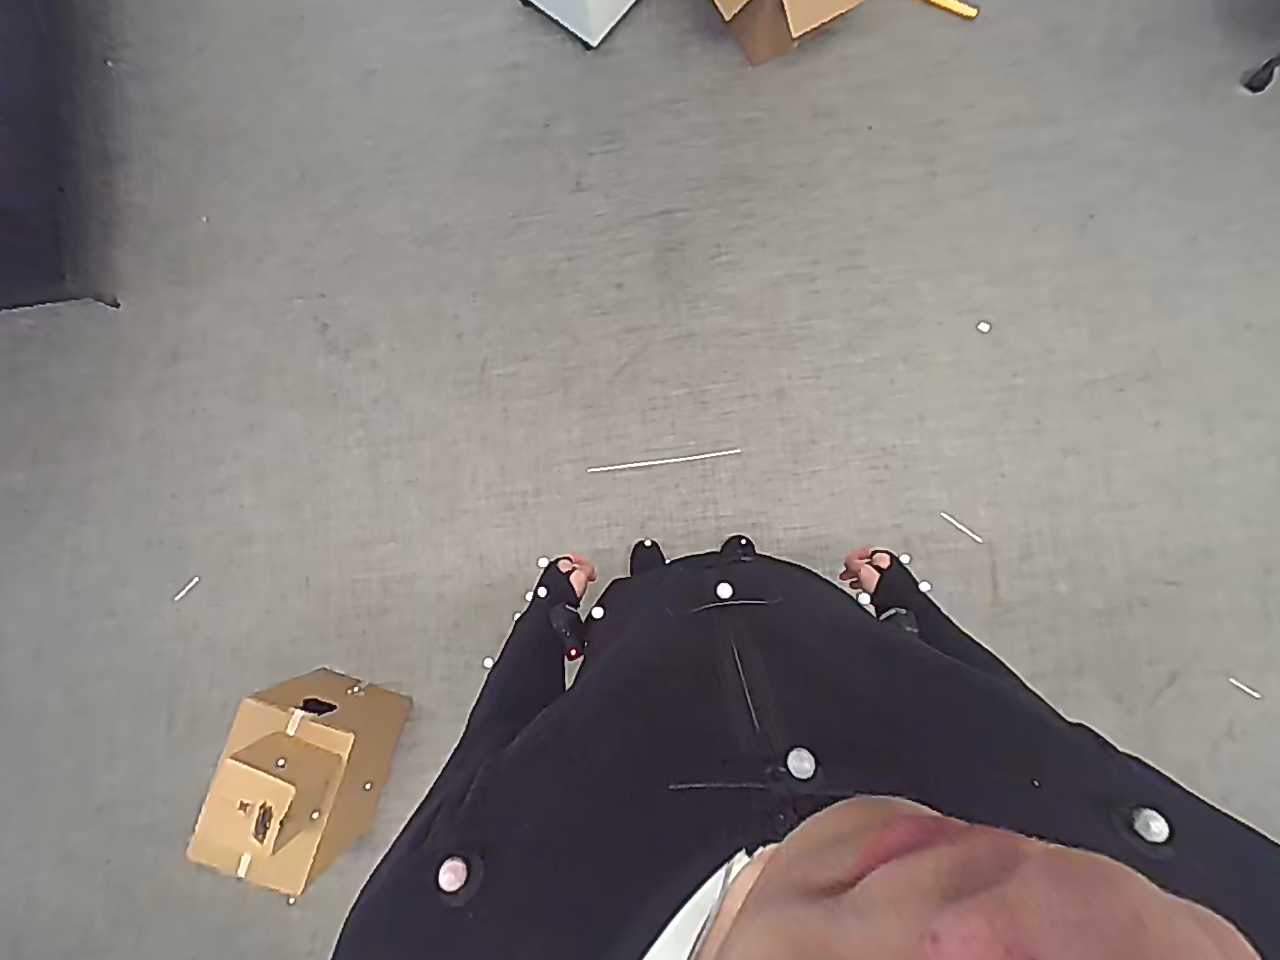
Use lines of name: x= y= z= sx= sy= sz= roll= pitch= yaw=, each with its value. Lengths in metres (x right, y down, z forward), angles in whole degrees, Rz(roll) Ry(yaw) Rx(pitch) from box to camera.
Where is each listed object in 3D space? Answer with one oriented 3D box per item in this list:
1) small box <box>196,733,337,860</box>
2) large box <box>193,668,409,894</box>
small box: x=-0.841 y=0.711 z=1.238 sx=0.179 sy=0.176 sz=0.168 roll=20 pitch=85 yaw=3
large box: x=-0.895 y=0.786 z=1.480 sx=0.320 sy=0.320 sz=0.408 roll=16 pitch=86 yaw=4
